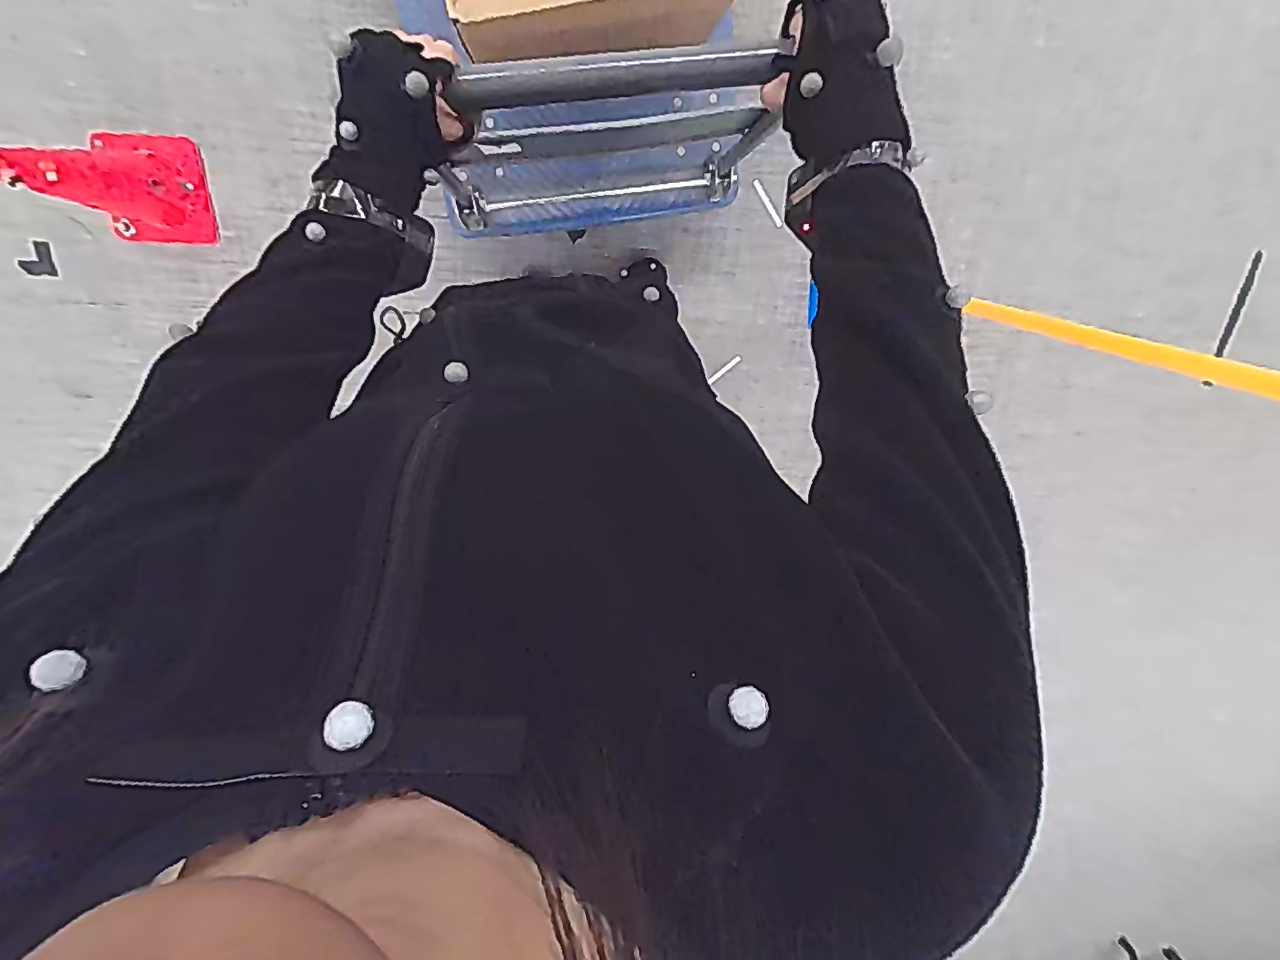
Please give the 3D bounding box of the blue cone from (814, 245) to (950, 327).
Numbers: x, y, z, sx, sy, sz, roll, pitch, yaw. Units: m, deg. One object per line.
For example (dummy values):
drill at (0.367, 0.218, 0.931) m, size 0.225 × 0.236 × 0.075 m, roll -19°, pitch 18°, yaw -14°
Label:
blue cone at (0.549, -0.426, 1.200) m, size 0.193 × 0.380 × 0.192 m, roll -4°, pitch 111°, yaw -6°
